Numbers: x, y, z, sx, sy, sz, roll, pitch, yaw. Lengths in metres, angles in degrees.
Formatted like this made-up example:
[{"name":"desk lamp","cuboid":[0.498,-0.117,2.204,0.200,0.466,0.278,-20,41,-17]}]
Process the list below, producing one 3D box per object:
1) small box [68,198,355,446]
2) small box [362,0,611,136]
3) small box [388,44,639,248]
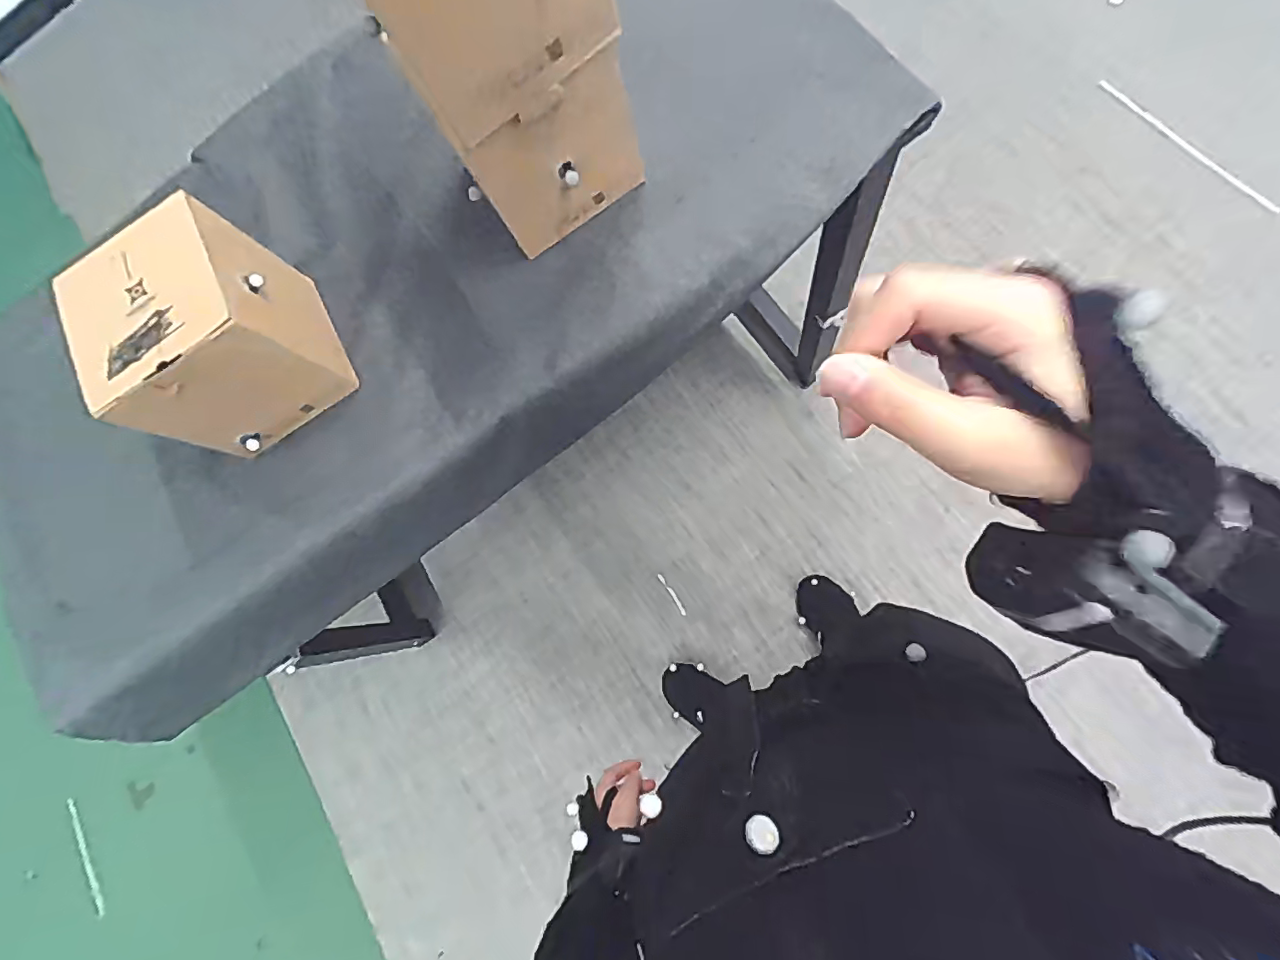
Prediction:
[{"name":"small box","cuboid":[-0.456,-0.154,0.599,0.168,0.176,0.179,-32,73,3]},{"name":"small box","cuboid":[-0.144,-0.414,0.420,0.168,0.176,0.179,-34,73,2]},{"name":"small box","cuboid":[-0.120,-0.382,0.578,0.168,0.176,0.179,-34,74,3]}]
